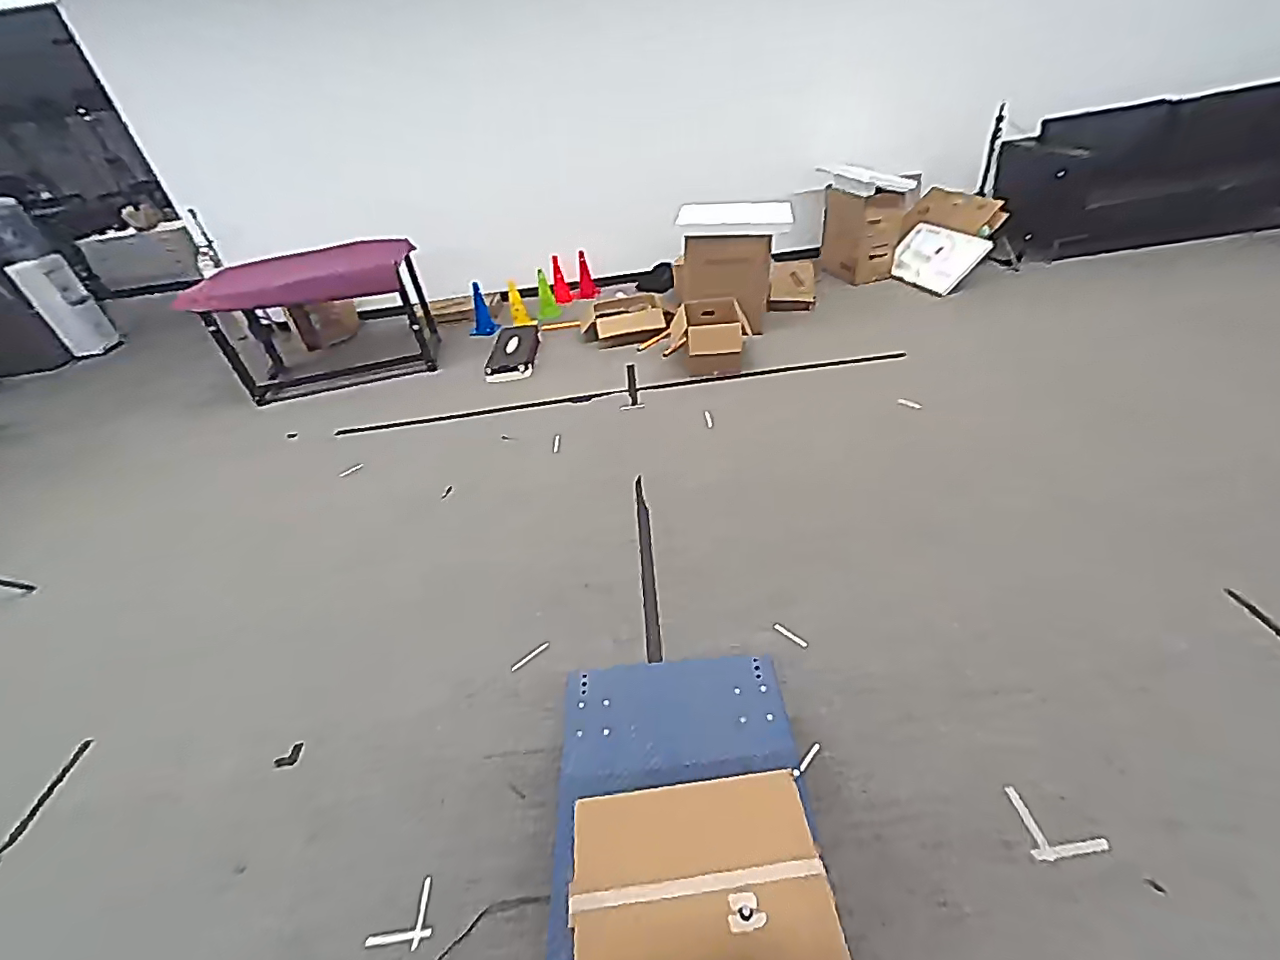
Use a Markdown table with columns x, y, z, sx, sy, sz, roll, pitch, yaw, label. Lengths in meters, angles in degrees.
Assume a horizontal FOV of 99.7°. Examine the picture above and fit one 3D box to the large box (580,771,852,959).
| x | y | z | sx | sy | sz | roll | pitch | yaw | label |
| --- | --- | --- | --- | --- | --- | --- | --- | --- | --- |
| 0.114 | 0.777 | 0.968 | 0.408 | 0.320 | 0.320 | -8 | 38 | -1 | large box |
